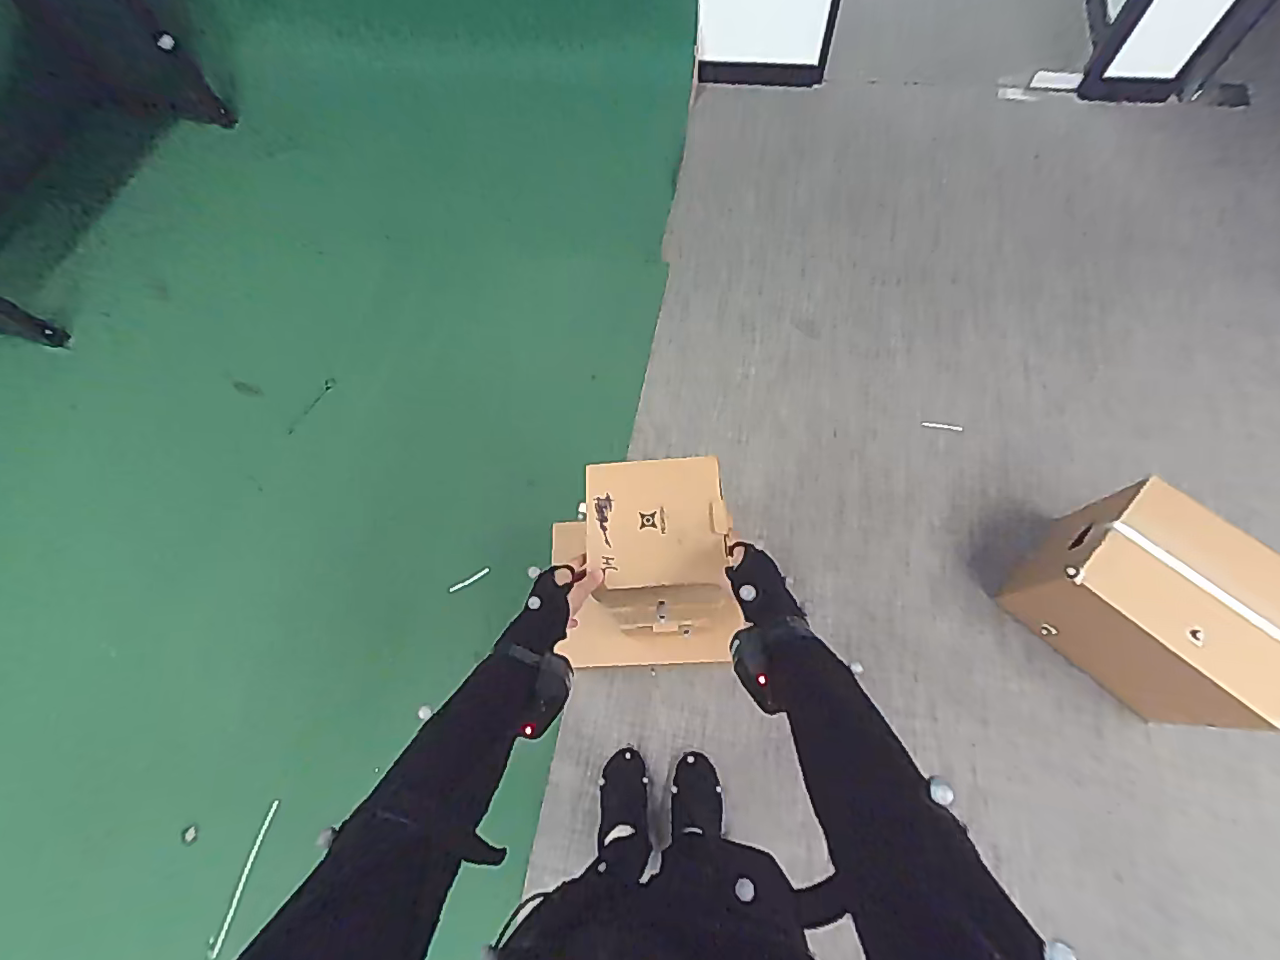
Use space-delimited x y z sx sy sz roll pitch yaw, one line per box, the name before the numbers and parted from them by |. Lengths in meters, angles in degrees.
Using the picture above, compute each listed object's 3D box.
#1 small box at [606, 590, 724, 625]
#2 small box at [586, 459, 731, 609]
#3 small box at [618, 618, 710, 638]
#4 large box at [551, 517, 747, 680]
small box | 0.038 0.145 0.896 0.179 0.176 0.168 -4 68 3
small box | 0.023 0.081 0.746 0.179 0.176 0.168 -3 67 2
small box | 0.047 0.210 1.045 0.168 0.176 0.179 -3 67 3
large box | 0.024 0.294 1.277 0.408 0.320 0.320 -4 66 4
